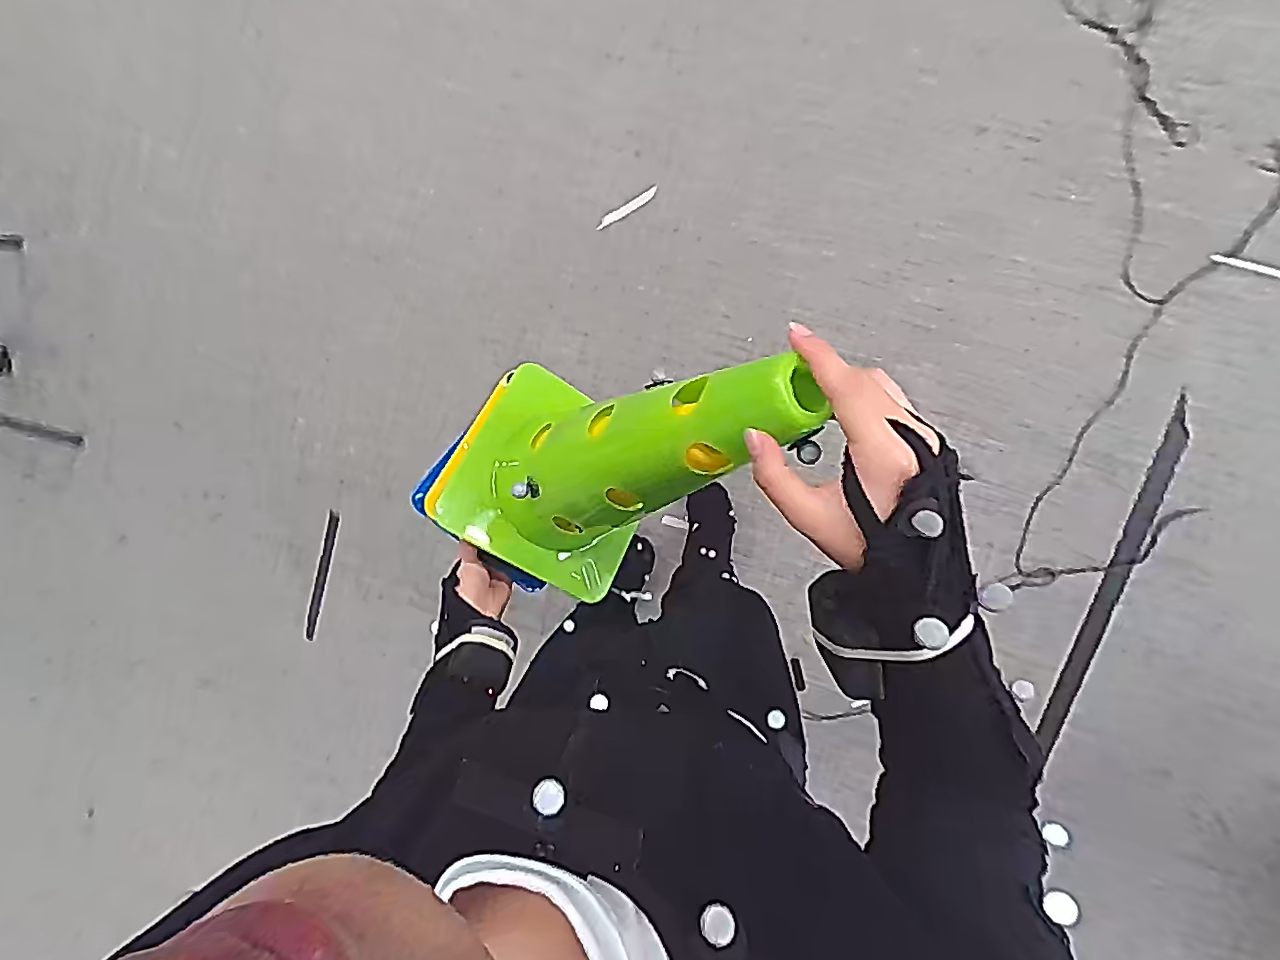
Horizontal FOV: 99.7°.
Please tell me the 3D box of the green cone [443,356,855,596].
[{"bbox_3d":[0.004,-0.024,0.410,0.200,0.368,0.202,32,70,-20],"label":"green cone"}]
